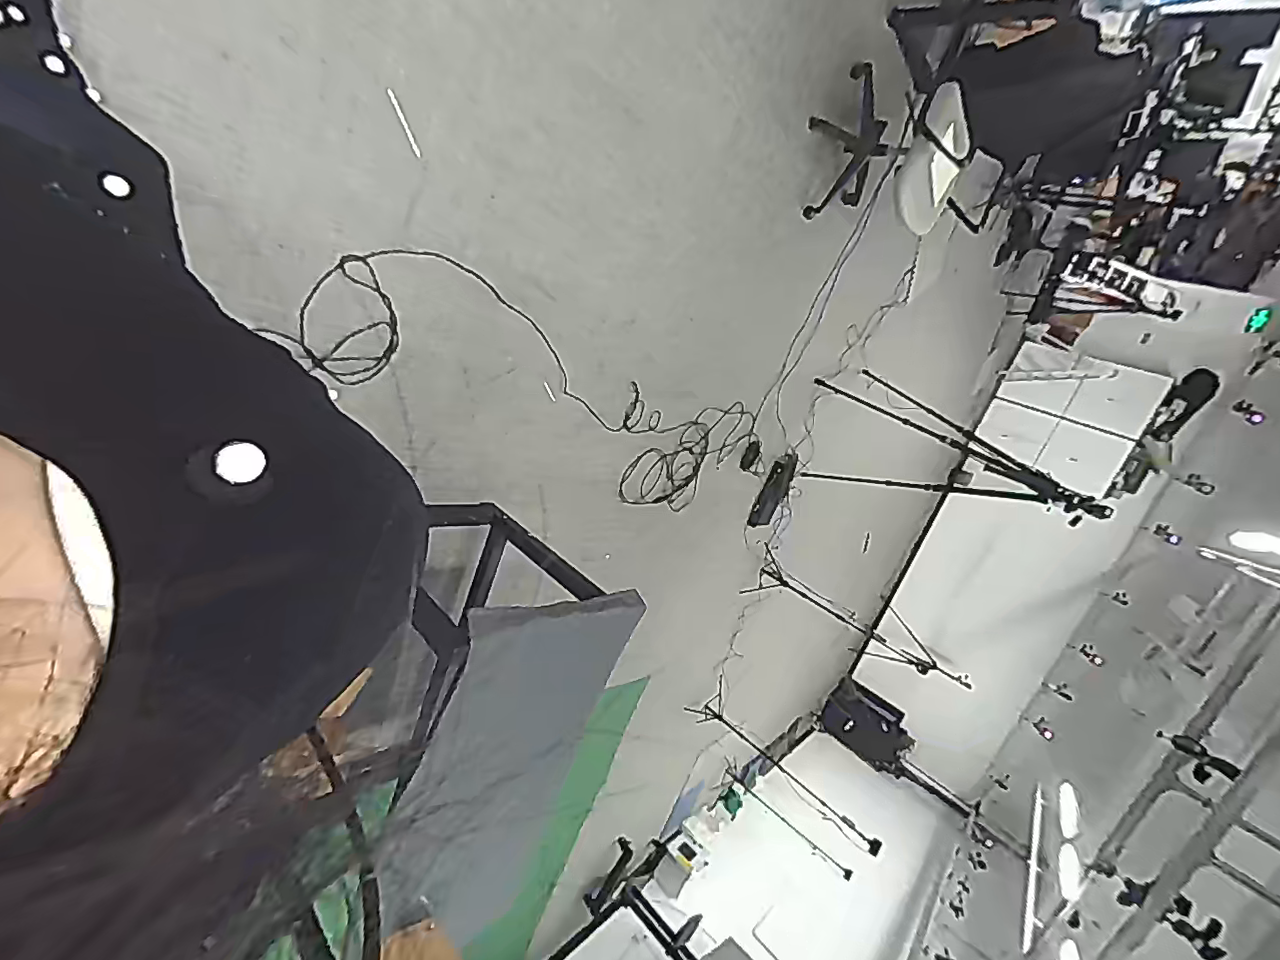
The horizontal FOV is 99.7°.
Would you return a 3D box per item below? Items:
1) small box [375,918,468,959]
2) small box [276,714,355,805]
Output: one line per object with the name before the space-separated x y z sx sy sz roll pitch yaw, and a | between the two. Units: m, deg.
small box | -0.584 1.272 1.380 0.179 0.176 0.168 -58 147 -5
small box | -1.078 0.917 1.790 0.179 0.176 0.168 -3 118 -50
